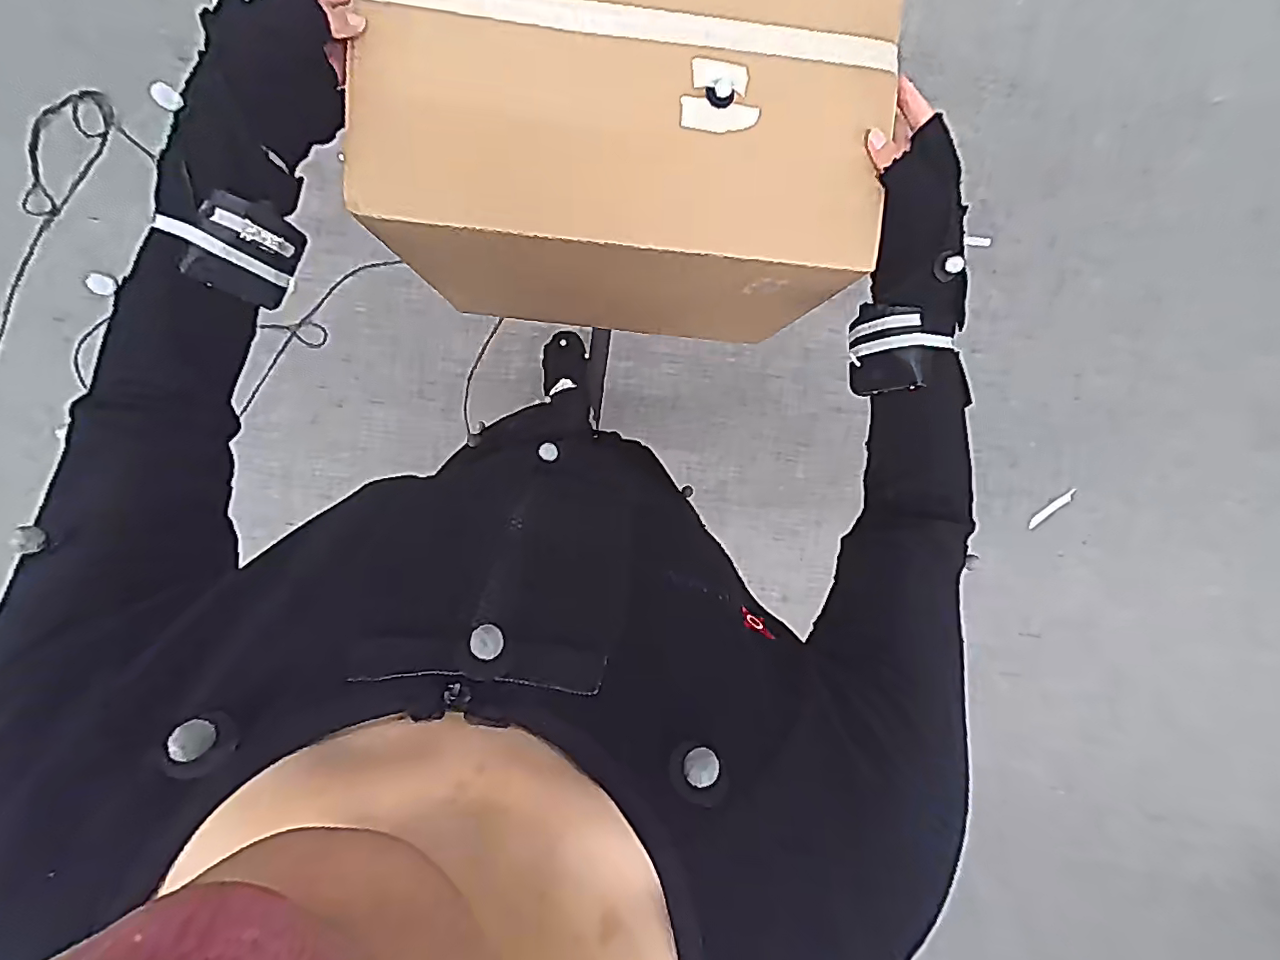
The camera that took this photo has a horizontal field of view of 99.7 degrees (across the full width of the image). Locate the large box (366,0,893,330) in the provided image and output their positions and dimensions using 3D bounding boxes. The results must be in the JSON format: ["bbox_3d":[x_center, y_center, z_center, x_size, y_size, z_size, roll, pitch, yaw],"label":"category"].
[{"bbox_3d":[-0.014,-0.356,0.562,0.408,0.320,0.320,5,94,-5],"label":"large box"}]
